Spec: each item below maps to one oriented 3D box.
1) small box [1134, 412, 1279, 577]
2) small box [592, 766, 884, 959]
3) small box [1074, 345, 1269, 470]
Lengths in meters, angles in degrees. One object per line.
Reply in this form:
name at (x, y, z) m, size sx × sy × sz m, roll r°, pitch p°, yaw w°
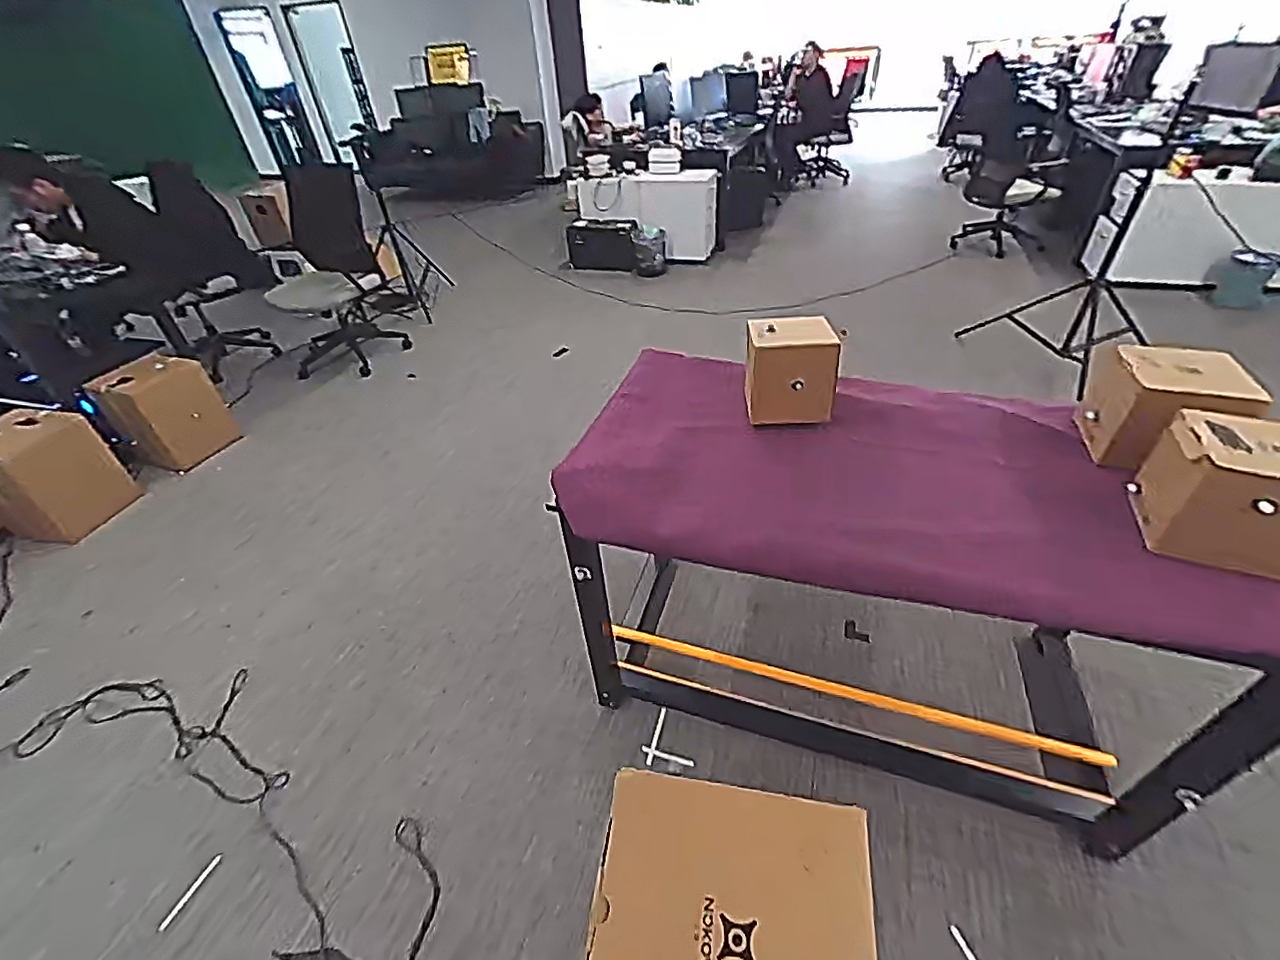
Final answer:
small box at (0.892, 0.020, 0.811) m, size 0.179 × 0.176 × 0.168 m, roll 14°, pitch 41°, yaw 21°
small box at (0.067, 0.326, 0.396) m, size 0.179 × 0.176 × 0.168 m, roll 3°, pitch 53°, yaw 10°
small box at (0.949, -0.126, 0.988) m, size 0.179 × 0.176 × 0.168 m, roll 9°, pitch 41°, yaw 17°
